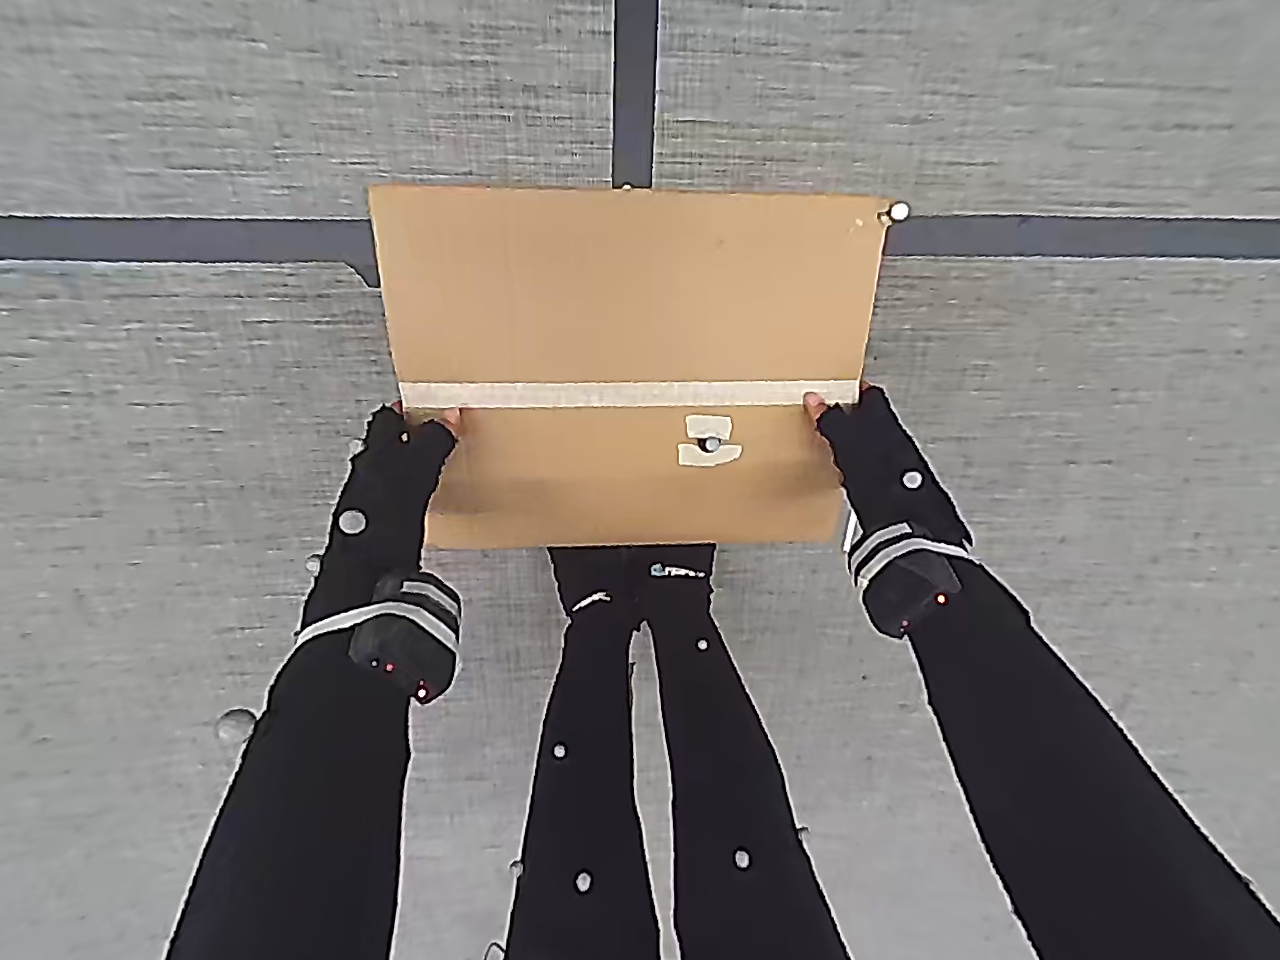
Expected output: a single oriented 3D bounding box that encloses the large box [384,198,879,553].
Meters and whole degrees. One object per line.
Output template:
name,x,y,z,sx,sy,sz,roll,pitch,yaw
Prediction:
large box,-0.013,-0.134,0.621,0.408,0.320,0.320,-2,114,-5
